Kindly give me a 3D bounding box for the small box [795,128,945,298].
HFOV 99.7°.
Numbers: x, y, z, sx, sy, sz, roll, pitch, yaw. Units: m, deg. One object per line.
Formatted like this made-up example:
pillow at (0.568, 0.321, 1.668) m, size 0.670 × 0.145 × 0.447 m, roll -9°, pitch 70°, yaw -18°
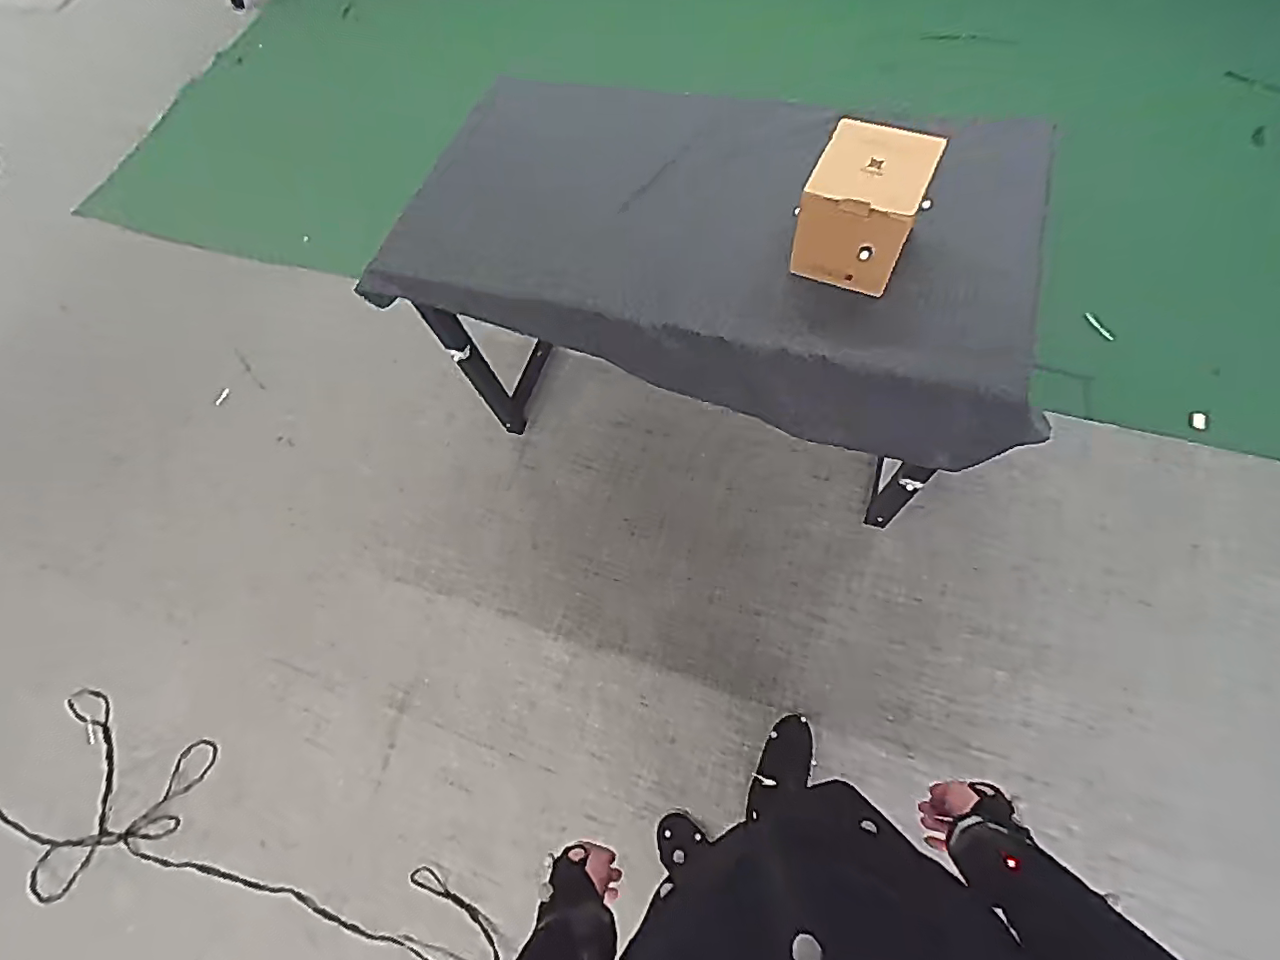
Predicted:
small box at (0.371, -0.438, 0.902) m, size 0.168 × 0.176 × 0.179 m, roll 24°, pitch 70°, yaw 15°
